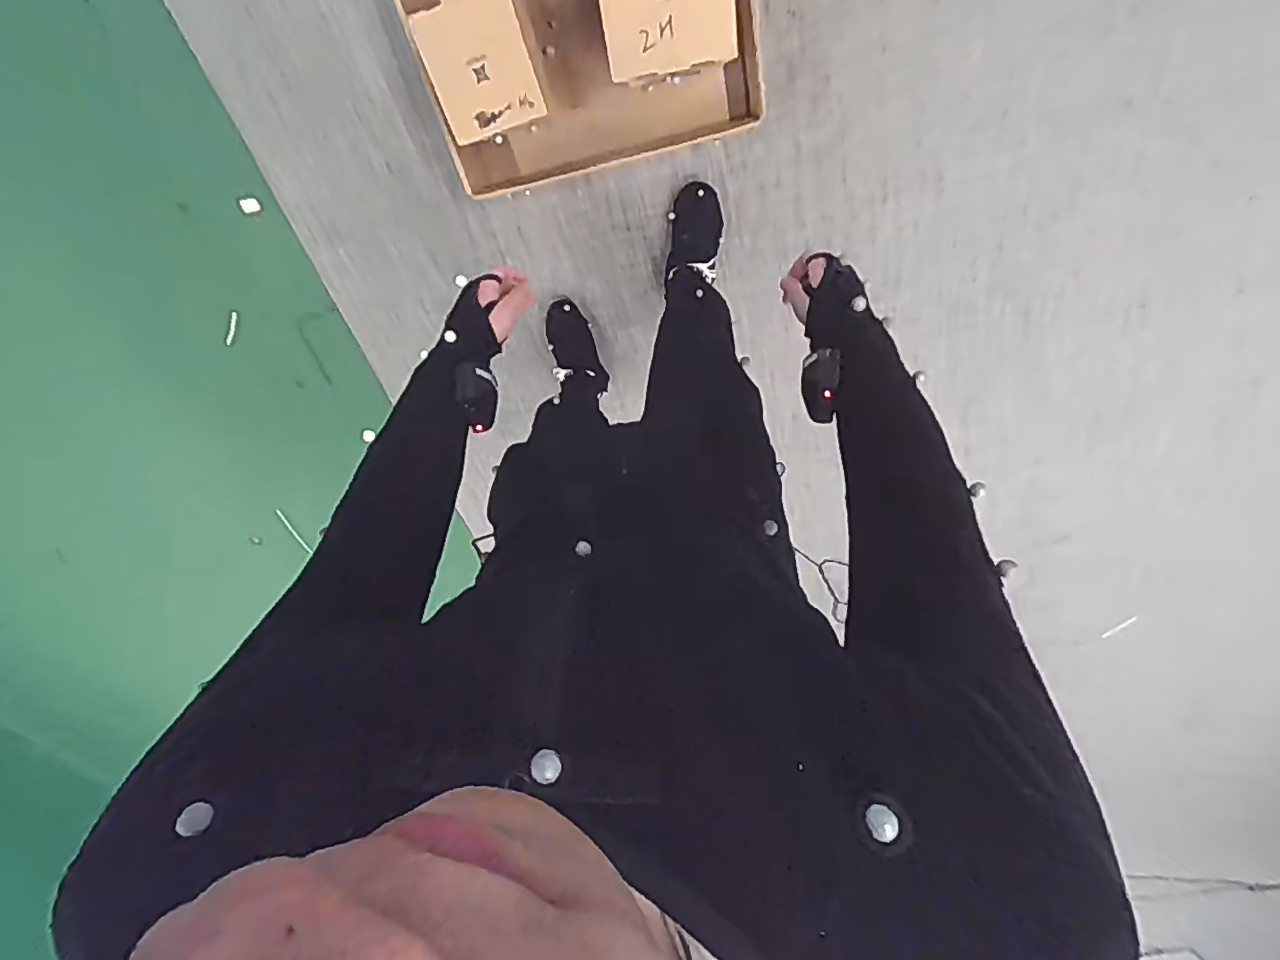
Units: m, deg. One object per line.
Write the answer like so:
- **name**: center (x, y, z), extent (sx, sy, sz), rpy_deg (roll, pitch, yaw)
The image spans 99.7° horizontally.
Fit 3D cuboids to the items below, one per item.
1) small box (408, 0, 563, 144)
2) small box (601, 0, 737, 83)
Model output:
- **small box**: center (-0.245, -0.686, 0.902), extent (0.168, 0.176, 0.179), rpy_deg (-10, 124, 13)
- **small box**: center (0.035, -0.642, 0.711), extent (0.168, 0.176, 0.179), rpy_deg (-5, 127, 8)
